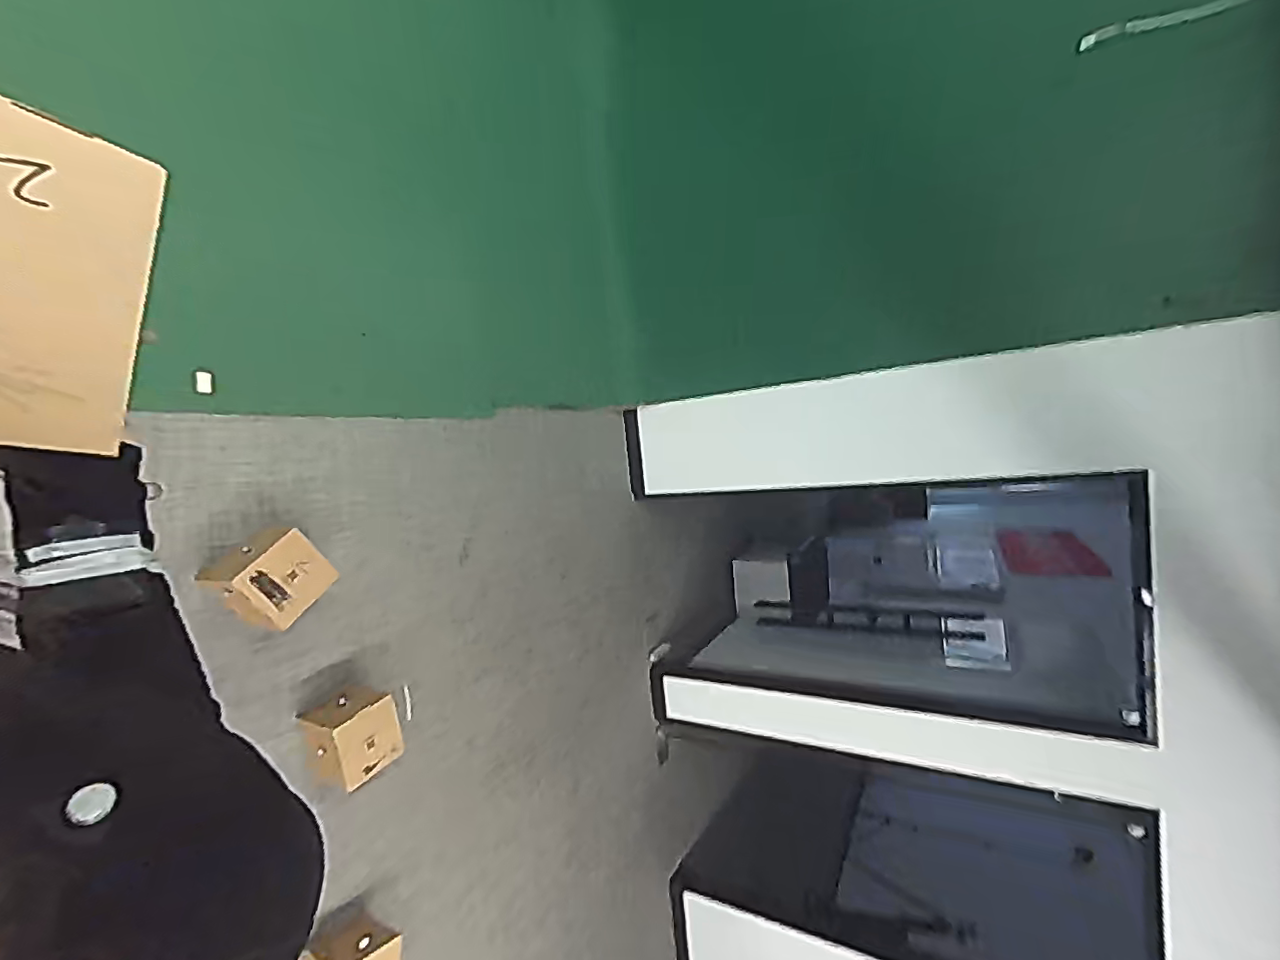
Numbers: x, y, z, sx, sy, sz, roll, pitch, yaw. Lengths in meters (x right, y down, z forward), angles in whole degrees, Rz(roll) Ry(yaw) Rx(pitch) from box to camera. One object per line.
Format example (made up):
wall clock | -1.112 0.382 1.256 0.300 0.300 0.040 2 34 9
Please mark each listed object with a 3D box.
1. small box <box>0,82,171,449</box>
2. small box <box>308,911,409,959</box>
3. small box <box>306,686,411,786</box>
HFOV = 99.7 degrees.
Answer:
small box | -0.398 -0.124 0.302 0.168 0.176 0.179 8 93 -52
small box | -0.728 1.262 1.390 0.179 0.176 0.168 15 74 -58
small box | -0.745 0.663 1.426 0.168 0.176 0.179 -23 105 -57
